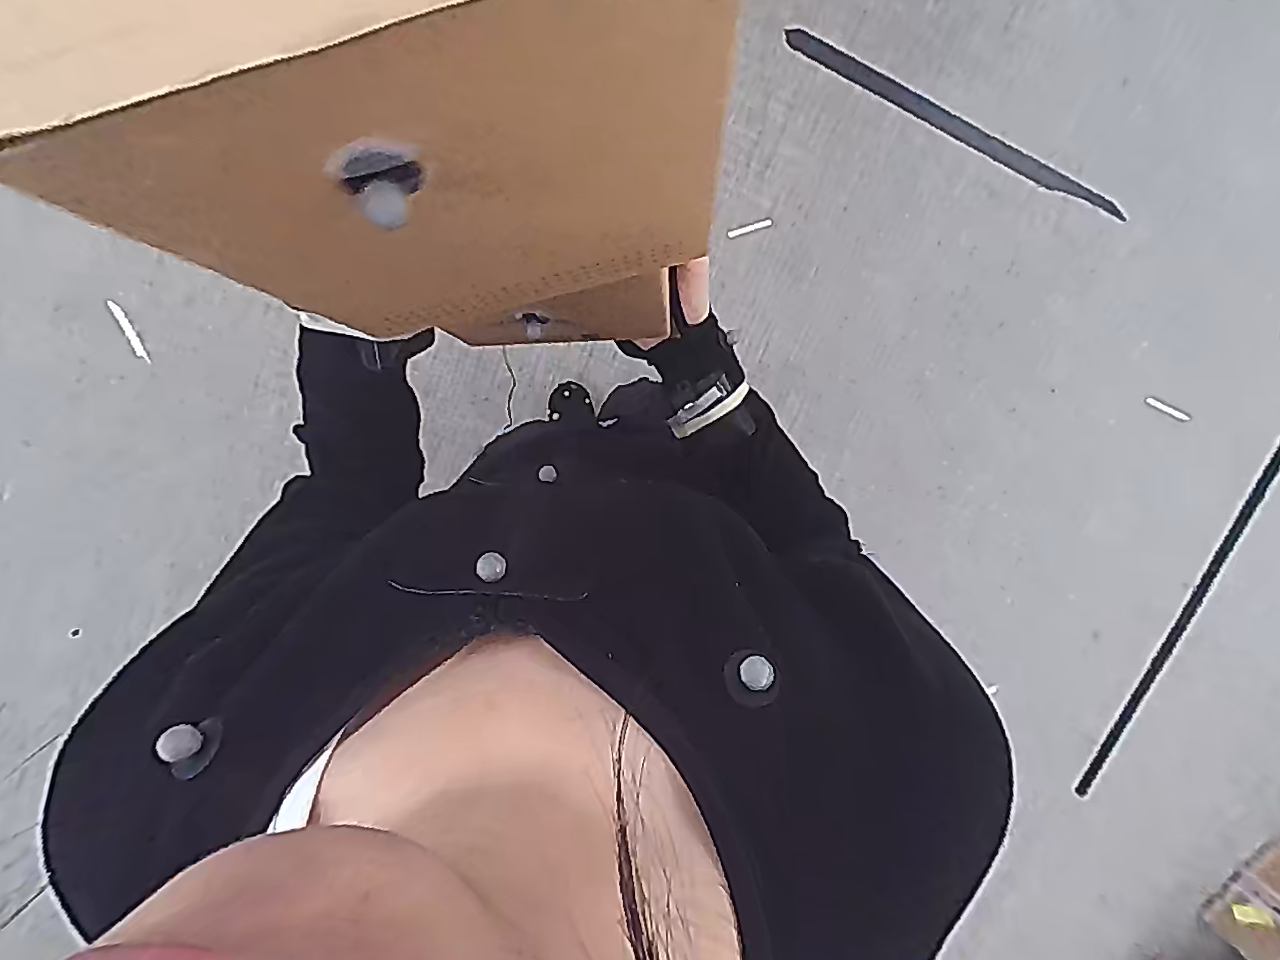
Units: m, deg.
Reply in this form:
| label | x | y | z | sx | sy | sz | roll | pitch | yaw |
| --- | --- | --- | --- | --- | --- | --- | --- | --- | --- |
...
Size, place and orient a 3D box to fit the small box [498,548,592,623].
| label | x | y | z | sx | sy | sz | roll | pitch | yaw |
| --- | --- | --- | --- | --- | --- | --- | --- | --- | --- |
| small box | -0.199 | 0.246 | 0.980 | 0.168 | 0.176 | 0.179 | 26 | 97 | -8 |

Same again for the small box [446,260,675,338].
| label | x | y | z | sx | sy | sz | roll | pitch | yaw |
| --- | --- | --- | --- | --- | --- | --- | --- | --- | --- |
| small box | -0.062 | -0.194 | 0.352 | 0.168 | 0.176 | 0.179 | -1 | 92 | 5 |

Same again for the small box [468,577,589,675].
| label | x | y | z | sx | sy | sz | roll | pitch | yaw |
| --- | --- | --- | --- | --- | --- | --- | --- | --- | --- |
| small box | -0.188 | 0.272 | 0.820 | 0.168 | 0.176 | 0.179 | 24 | 99 | -9 |

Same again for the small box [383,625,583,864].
| label | x | y | z | sx | sy | sz | roll | pitch | yaw |
| --- | --- | --- | --- | --- | --- | --- | --- | --- | --- |
| small box | -0.176 | 0.307 | 0.661 | 0.168 | 0.176 | 0.179 | 24 | 100 | -8 |

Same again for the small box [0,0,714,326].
| label | x | y | z | sx | sy | sz | roll | pitch | yaw |
| --- | --- | --- | --- | --- | --- | --- | --- | --- | --- |
| small box | -0.072 | -0.167 | 0.189 | 0.179 | 0.176 | 0.168 | -12 | 91 | 5 |
